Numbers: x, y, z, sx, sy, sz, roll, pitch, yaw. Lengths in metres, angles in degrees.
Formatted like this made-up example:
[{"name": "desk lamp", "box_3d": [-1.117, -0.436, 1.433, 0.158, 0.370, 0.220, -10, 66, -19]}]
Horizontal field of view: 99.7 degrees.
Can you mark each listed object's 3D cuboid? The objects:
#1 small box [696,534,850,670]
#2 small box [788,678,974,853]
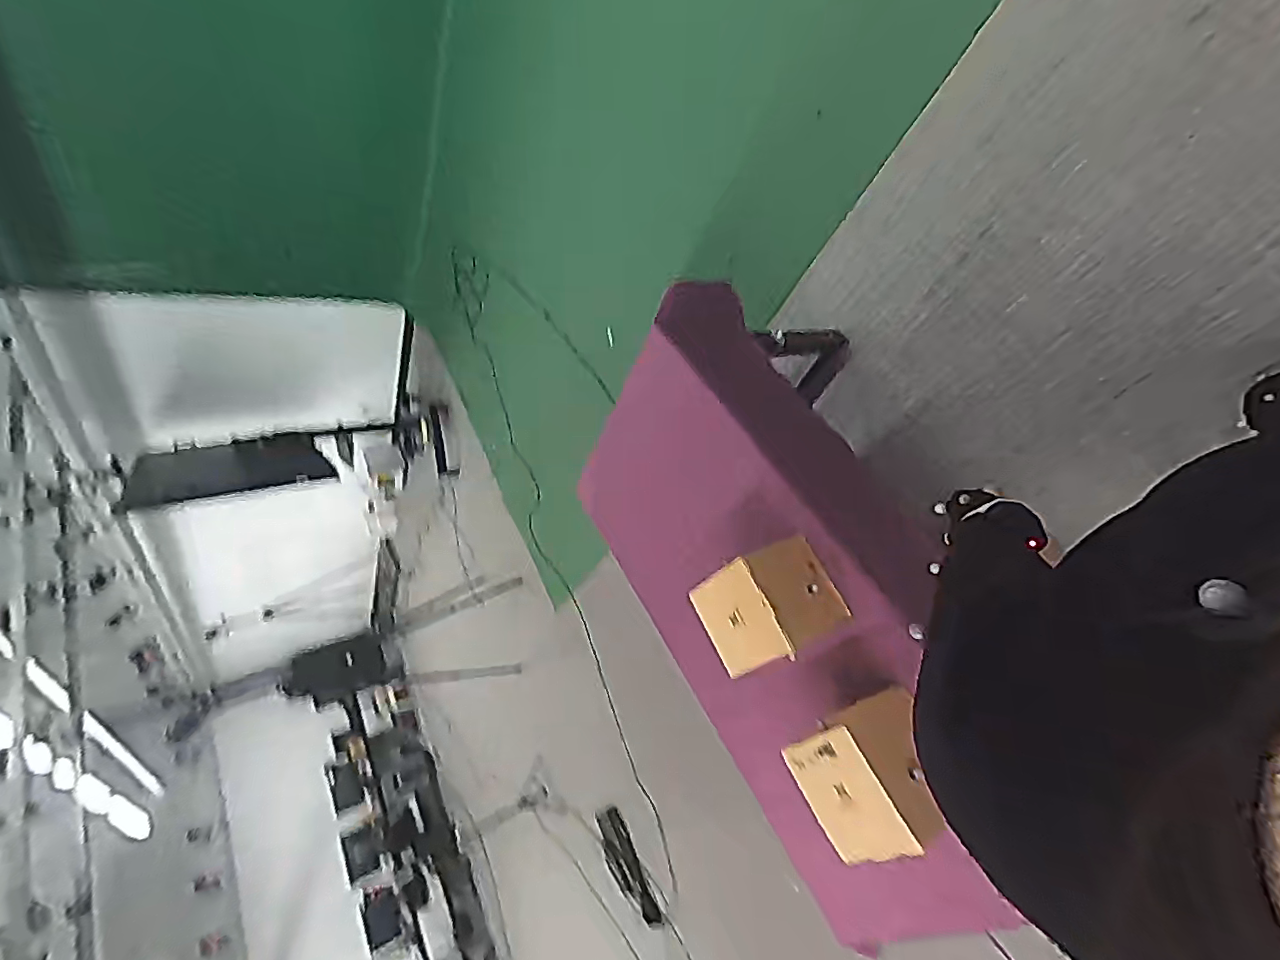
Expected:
[{"name": "small box", "box_3d": [0.241, 0.219, 0.985, 0.179, 0.176, 0.168, -50, 61, 46]}, {"name": "small box", "box_3d": [0.383, 0.450, 0.862, 0.179, 0.176, 0.168, 58, 139, 23]}]
